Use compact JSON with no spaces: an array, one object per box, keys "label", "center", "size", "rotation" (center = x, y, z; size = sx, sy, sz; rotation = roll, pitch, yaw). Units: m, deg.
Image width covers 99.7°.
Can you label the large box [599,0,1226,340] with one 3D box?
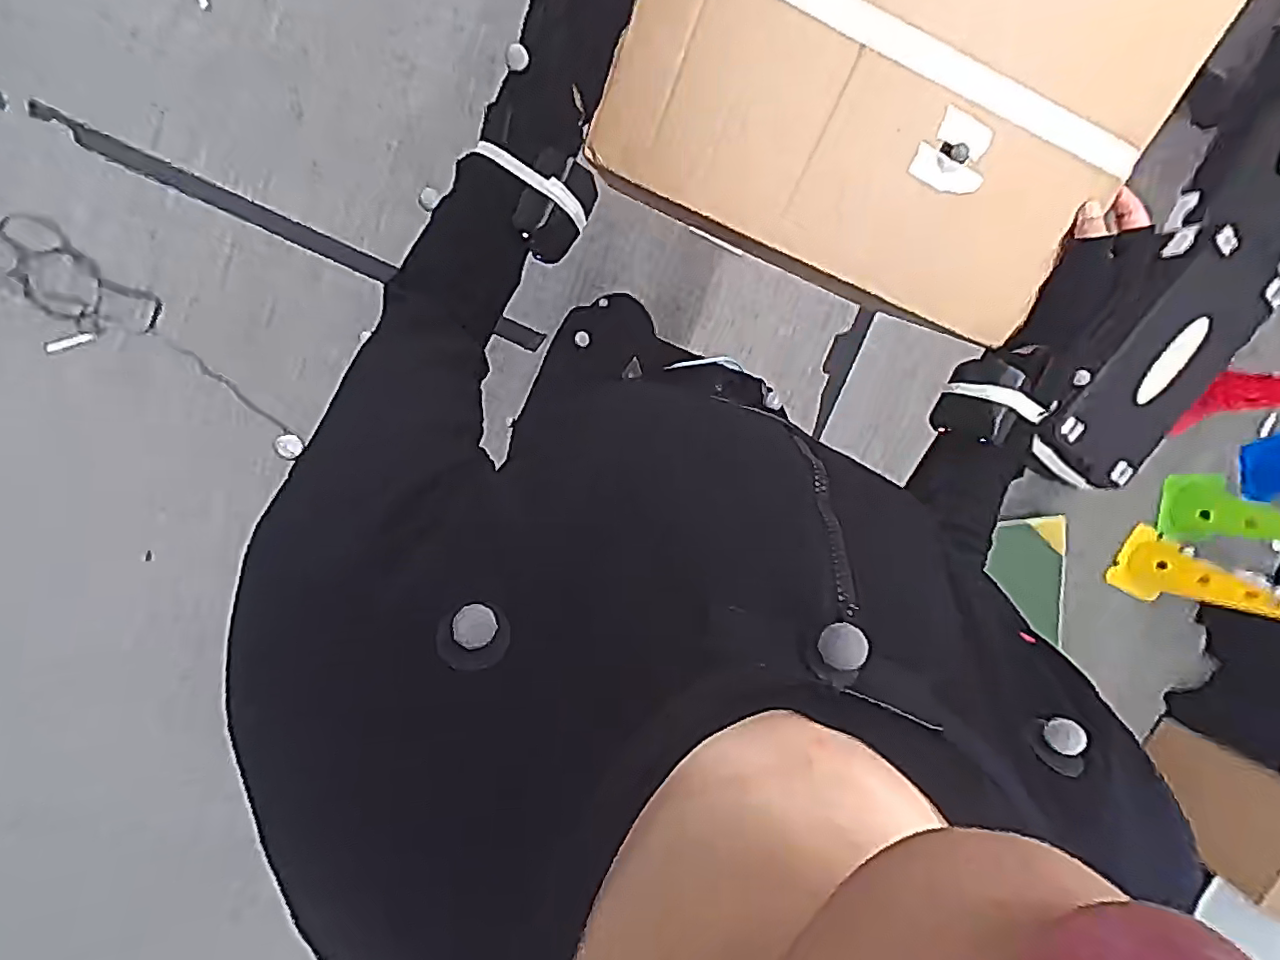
[{"label":"large box","center":[0.200,-0.383,0.545],"size":[0.408,0.320,0.320],"rotation":[20,114,-10]}]
